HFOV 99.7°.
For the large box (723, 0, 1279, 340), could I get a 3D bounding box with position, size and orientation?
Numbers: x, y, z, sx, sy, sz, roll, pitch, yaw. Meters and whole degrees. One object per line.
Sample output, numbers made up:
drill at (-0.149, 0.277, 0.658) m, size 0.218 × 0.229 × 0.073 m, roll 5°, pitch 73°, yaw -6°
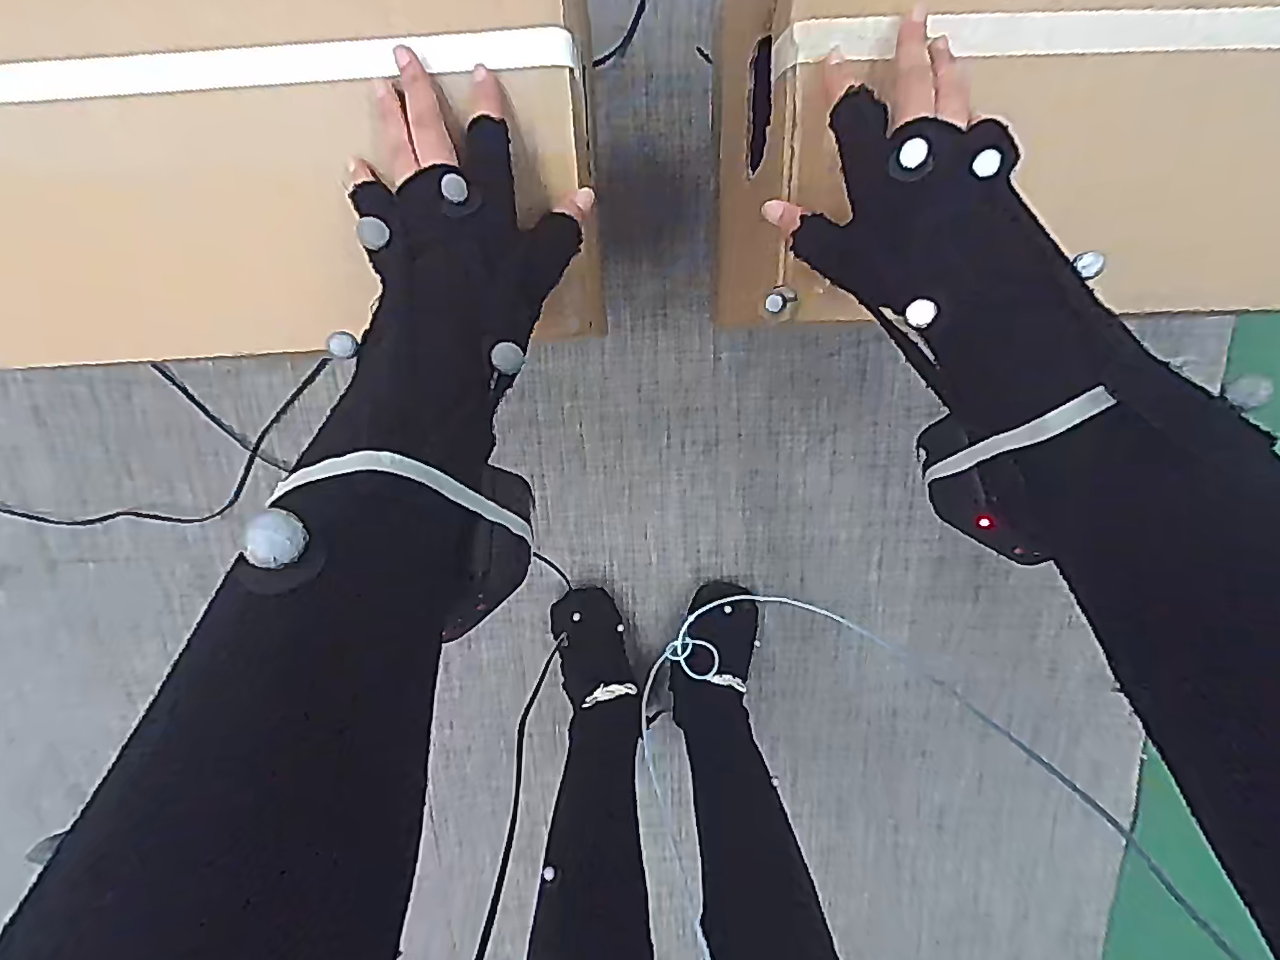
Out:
large box at (0.300, -0.295, 0.493) m, size 0.408 × 0.320 × 0.320 m, roll -1°, pitch 104°, yaw 0°
